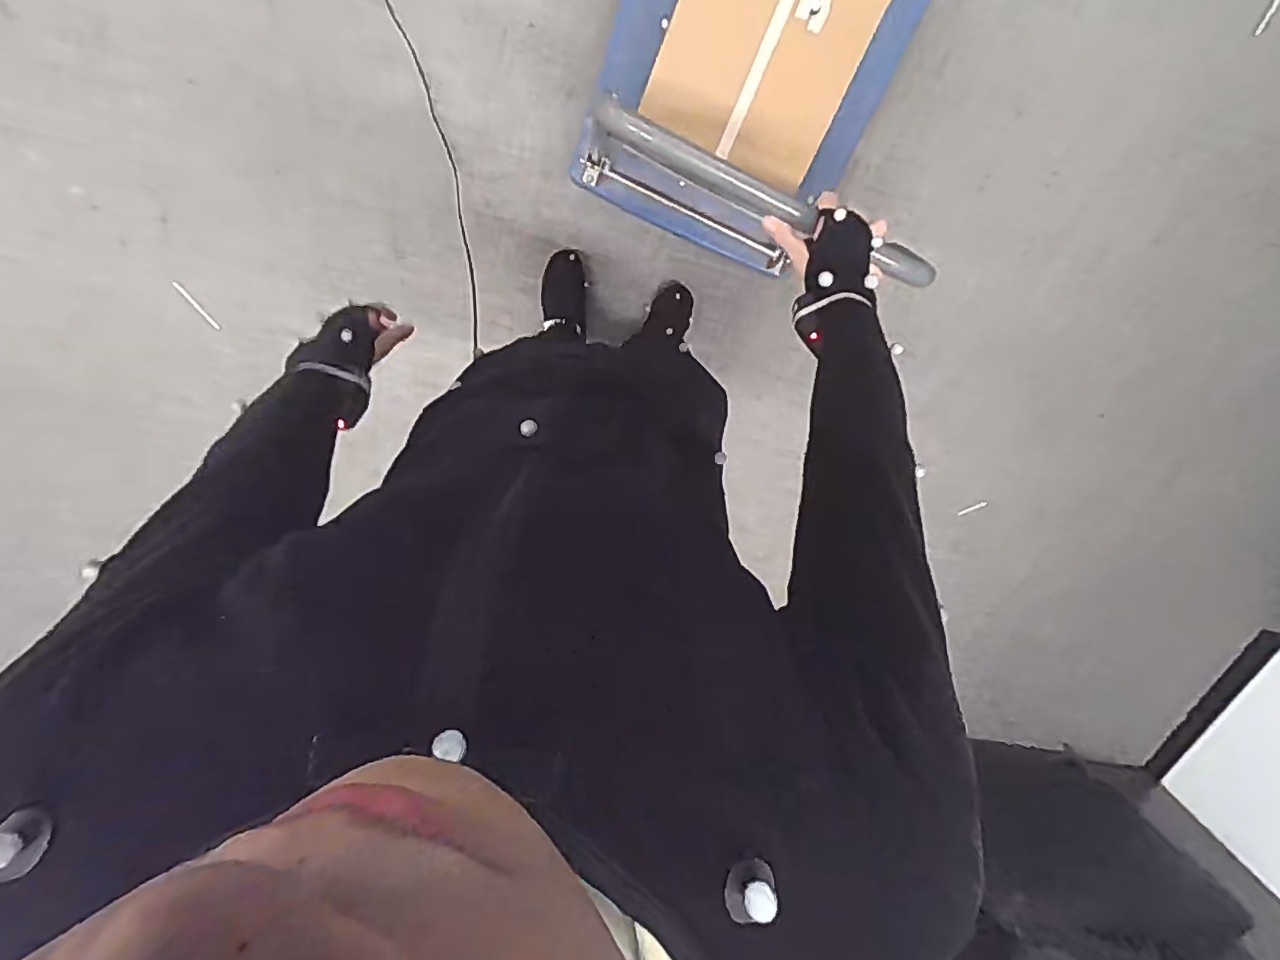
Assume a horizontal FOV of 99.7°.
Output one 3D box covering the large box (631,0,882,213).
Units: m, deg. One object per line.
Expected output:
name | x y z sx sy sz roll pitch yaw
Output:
large box | 0.197 -0.785 1.034 0.320 0.320 0.408 21 110 -13
